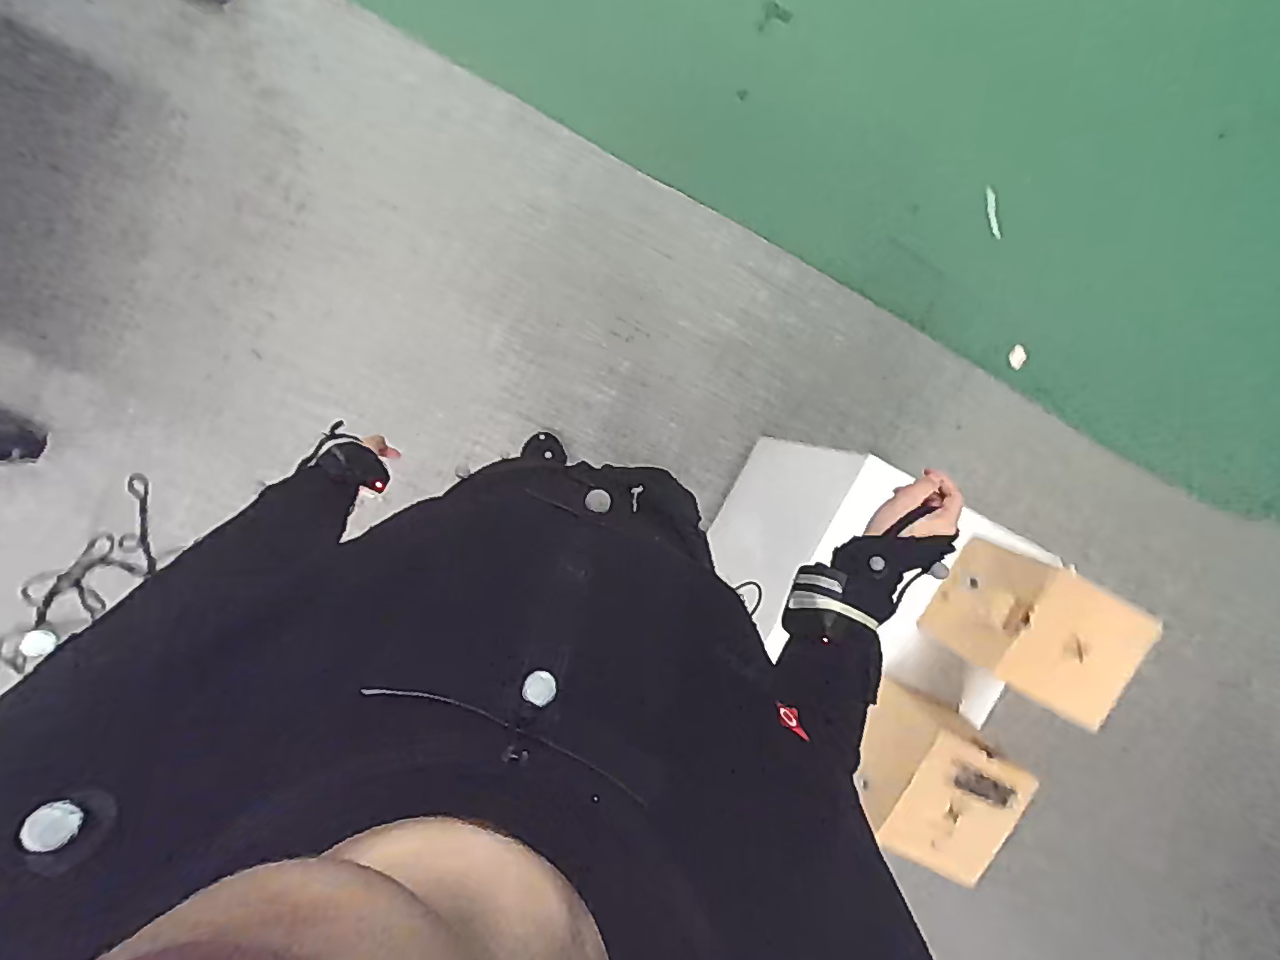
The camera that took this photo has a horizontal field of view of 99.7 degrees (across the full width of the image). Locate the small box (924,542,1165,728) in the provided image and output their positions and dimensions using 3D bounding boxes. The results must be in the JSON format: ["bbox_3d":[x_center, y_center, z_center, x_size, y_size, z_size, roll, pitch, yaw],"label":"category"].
[{"bbox_3d":[0.557,0.206,0.770,0.179,0.176,0.168,28,95,-7],"label":"small box"}]
